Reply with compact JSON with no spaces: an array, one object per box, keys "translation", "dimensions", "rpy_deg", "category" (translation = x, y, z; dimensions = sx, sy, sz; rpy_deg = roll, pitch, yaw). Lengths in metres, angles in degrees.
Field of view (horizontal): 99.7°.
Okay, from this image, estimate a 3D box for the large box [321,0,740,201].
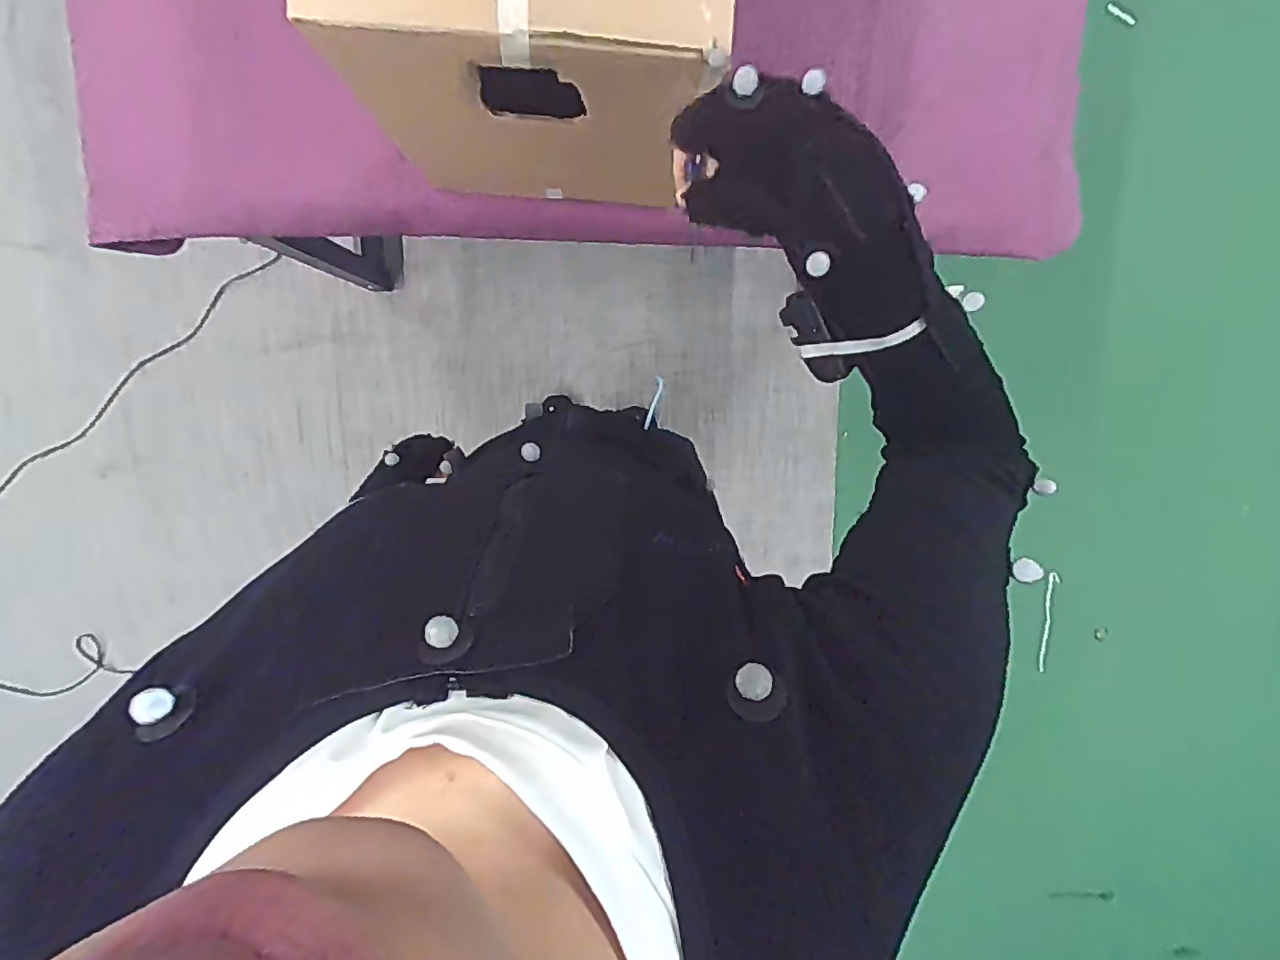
[{"translation":[-0.082,-0.541,0.518],"dimensions":[0.320,0.320,0.408],"rpy_deg":[3,99,-4],"category":"large box"}]
